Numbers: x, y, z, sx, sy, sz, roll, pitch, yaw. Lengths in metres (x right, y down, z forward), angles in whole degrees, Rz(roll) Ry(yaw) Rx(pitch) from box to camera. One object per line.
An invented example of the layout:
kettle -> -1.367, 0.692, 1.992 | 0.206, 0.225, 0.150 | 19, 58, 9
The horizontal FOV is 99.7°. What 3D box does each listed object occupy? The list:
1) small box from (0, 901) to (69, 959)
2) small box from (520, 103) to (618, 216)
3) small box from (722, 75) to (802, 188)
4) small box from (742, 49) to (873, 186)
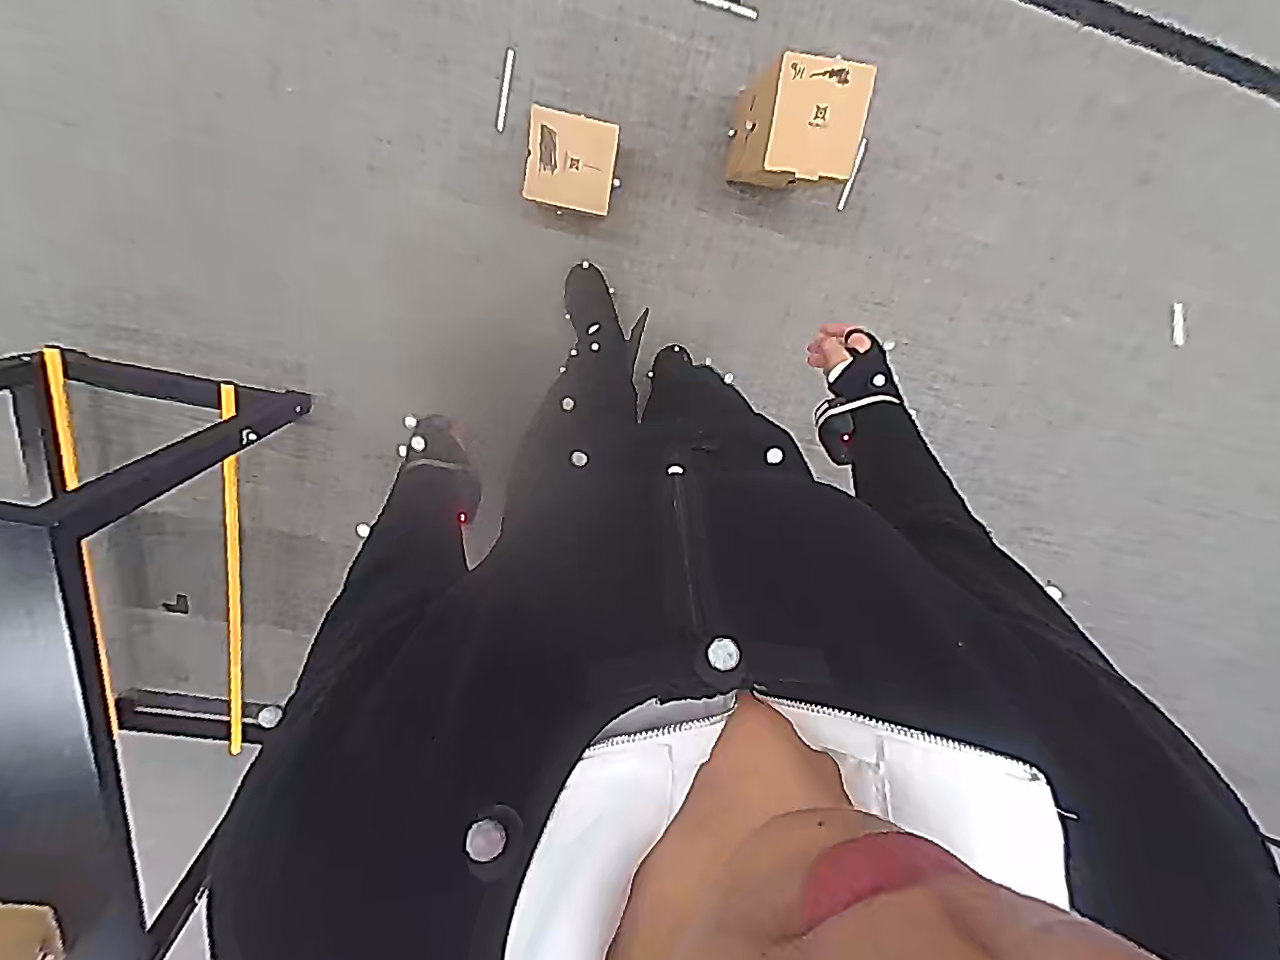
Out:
small box -> -1.187, 0.876, 0.950 | 0.179, 0.176, 0.168 | 9, 113, -8
small box -> -0.147, -0.668, 1.148 | 0.179, 0.176, 0.168 | 9, 113, -8
small box -> 0.290, -0.732, 1.154 | 0.179, 0.176, 0.168 | 6, 113, -7
small box -> 0.297, -0.659, 1.007 | 0.168, 0.176, 0.179 | 5, 114, -6
